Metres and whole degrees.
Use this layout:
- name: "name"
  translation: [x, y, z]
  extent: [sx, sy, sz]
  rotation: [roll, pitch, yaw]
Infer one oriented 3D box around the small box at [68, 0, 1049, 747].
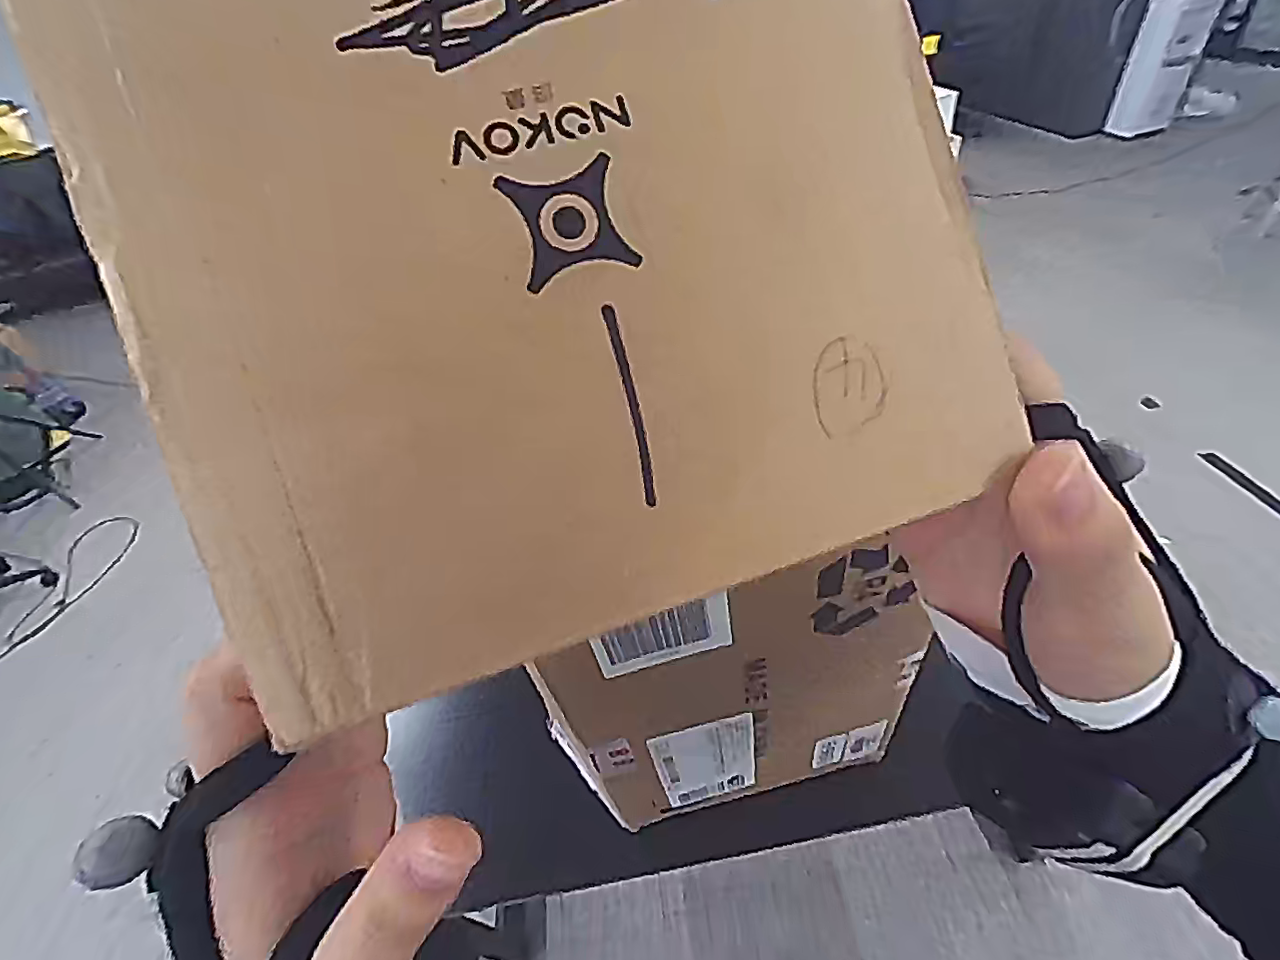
- name: "small box"
  translation: [-0.021, -0.051, 0.189]
  extent: [0.168, 0.179, 0.176]
  rotation: [-17, 0, -8]
